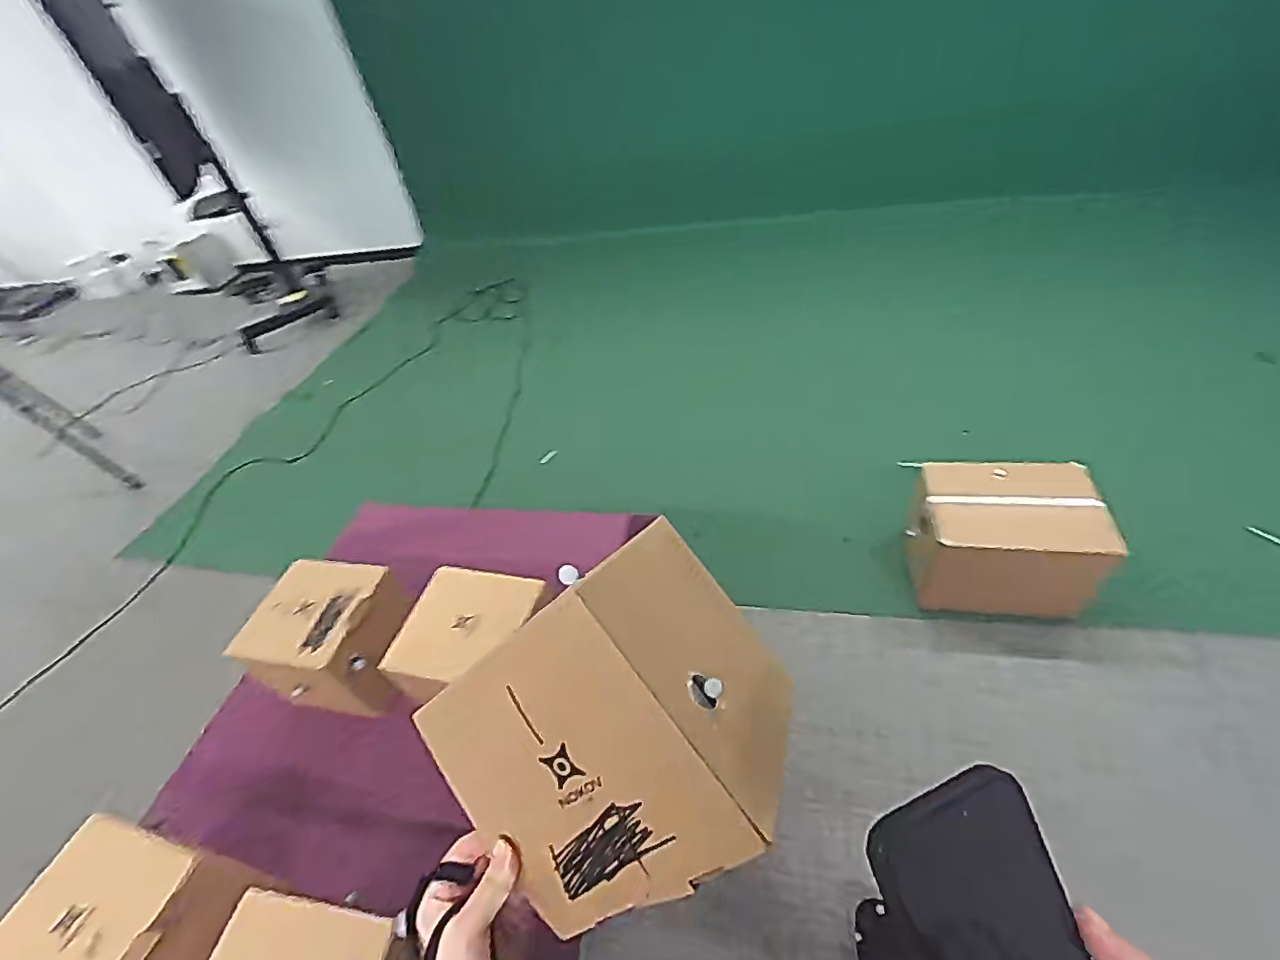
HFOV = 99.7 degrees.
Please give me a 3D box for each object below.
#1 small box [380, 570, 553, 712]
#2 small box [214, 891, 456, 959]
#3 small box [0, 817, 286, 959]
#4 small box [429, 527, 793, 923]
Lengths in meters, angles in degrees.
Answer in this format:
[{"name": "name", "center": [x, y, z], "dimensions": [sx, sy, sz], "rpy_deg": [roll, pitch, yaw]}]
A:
[{"name": "small box", "center": [-0.227, 0.254, 0.789], "dimensions": [0.179, 0.176, 0.168], "rpy_deg": [4, 46, 16]}, {"name": "small box", "center": [-0.310, 0.530, 0.527], "dimensions": [0.179, 0.176, 0.168], "rpy_deg": [0, 44, 14]}, {"name": "small box", "center": [-0.555, 0.510, 0.601], "dimensions": [0.179, 0.176, 0.168], "rpy_deg": [6, 47, 18]}, {"name": "small box", "center": [-0.007, 0.161, 0.401], "dimensions": [0.168, 0.179, 0.176], "rpy_deg": [-40, -6, 23]}]
